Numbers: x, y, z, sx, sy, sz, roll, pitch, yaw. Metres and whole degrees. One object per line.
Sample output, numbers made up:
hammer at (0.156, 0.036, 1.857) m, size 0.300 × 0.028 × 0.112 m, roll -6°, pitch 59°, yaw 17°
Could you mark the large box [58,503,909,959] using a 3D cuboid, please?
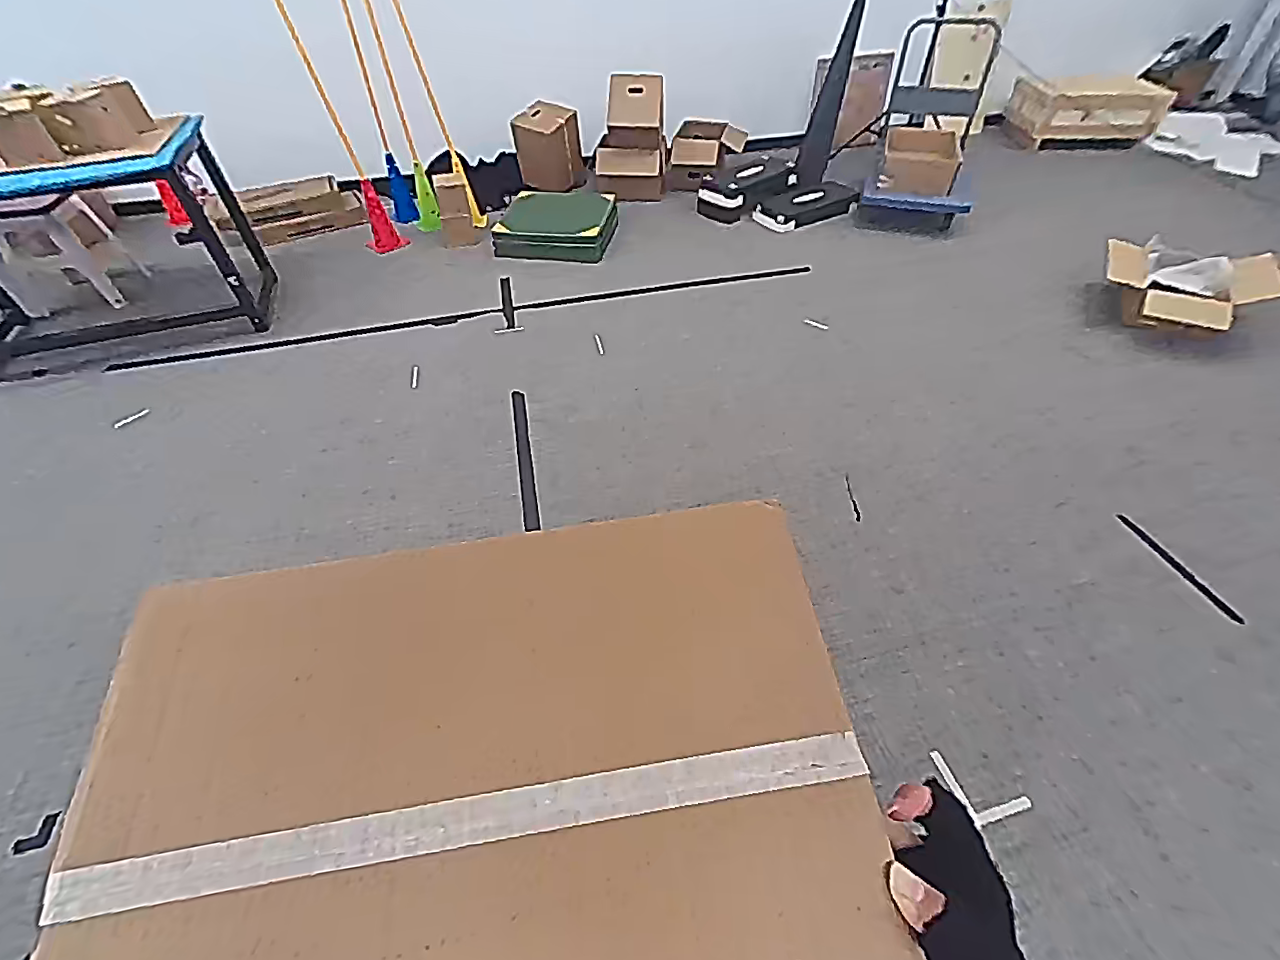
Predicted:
large box at (-0.083, 0.250, 0.415) m, size 0.408 × 0.320 × 0.320 m, roll -8°, pitch 61°, yaw -3°
